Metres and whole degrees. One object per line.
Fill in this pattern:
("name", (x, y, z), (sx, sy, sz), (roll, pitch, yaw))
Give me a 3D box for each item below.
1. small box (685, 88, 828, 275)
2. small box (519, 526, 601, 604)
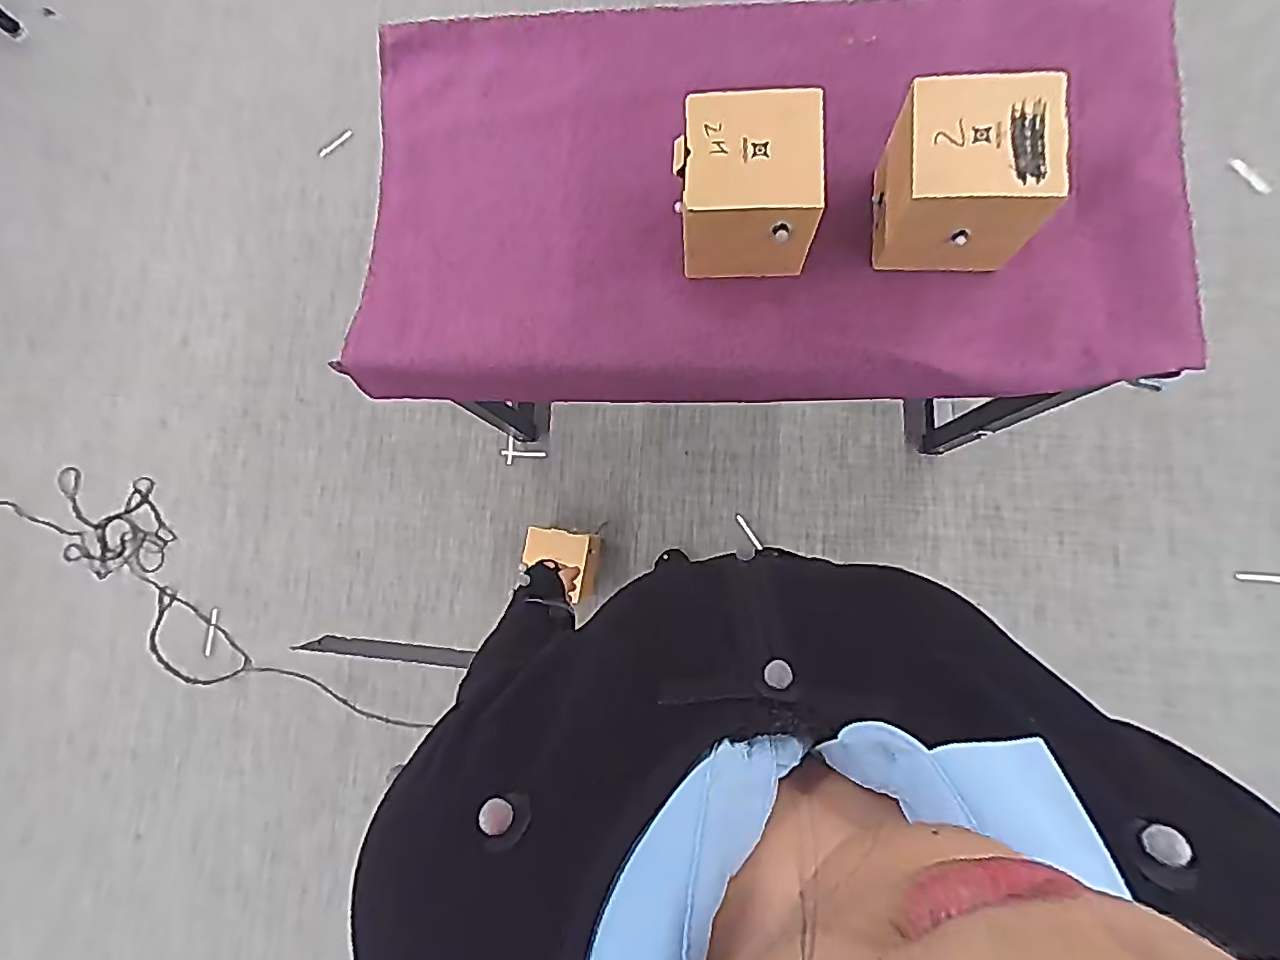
("small box", (0.155, -0.405, 0.759), (0.179, 0.176, 0.168), (1, 82, 7))
("small box", (-0.208, 0.227, 1.460), (0.168, 0.176, 0.179), (9, 84, 7))
